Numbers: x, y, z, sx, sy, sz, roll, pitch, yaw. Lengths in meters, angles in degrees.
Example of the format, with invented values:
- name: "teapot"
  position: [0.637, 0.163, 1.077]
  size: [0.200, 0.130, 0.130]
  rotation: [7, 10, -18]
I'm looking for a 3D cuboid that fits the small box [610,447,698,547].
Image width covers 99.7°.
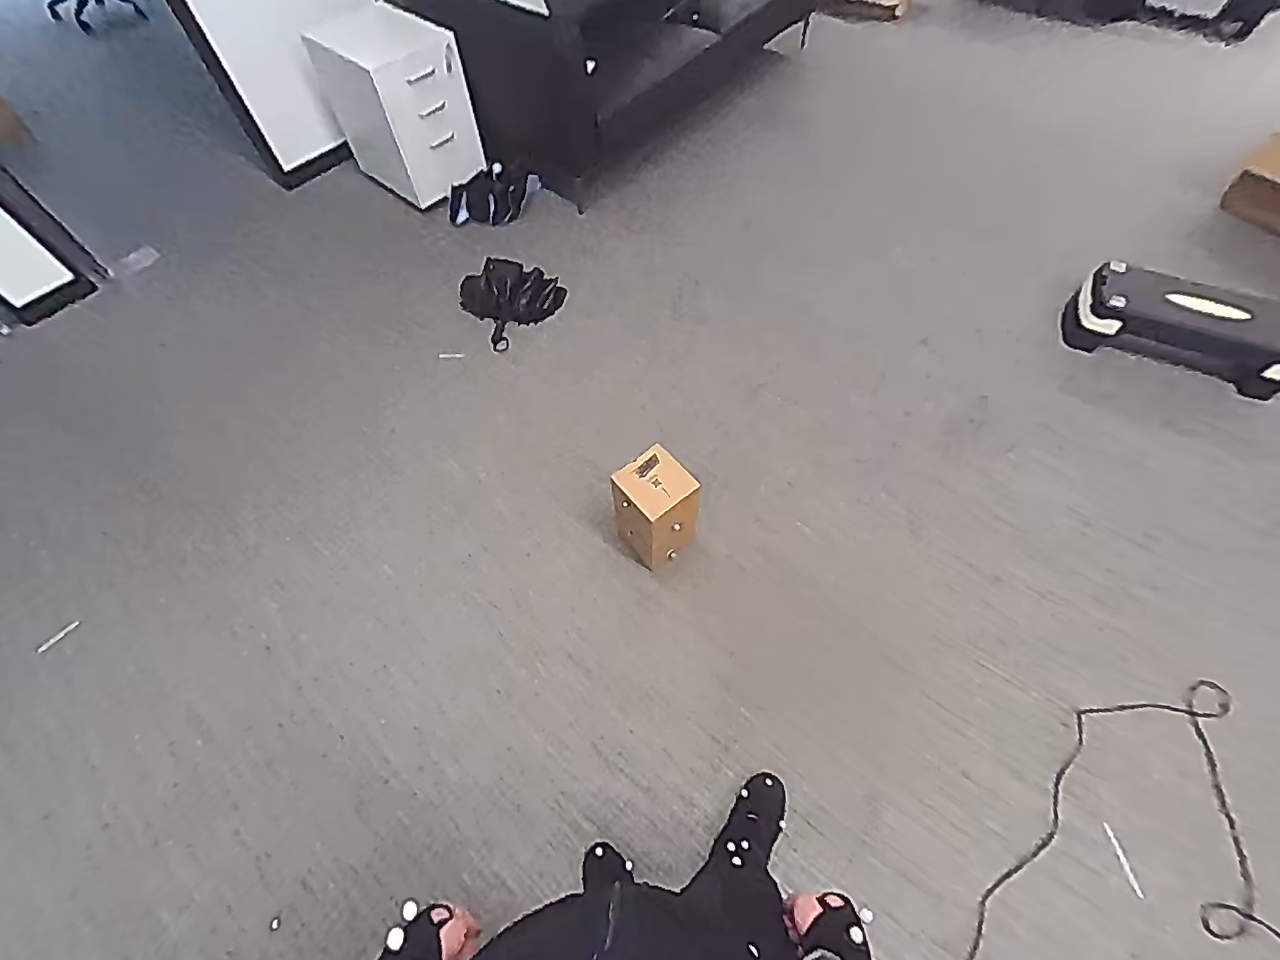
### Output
- name: "small box"
  position: [0.036, 0.051, 1.472]
  size: [0.168, 0.176, 0.179]
  rotation: [-35, 65, -17]

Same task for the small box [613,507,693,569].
- name: "small box"
  position: [0.037, 0.136, 1.613]
  size: [0.168, 0.176, 0.179]
  rotation: [-36, 66, -18]
